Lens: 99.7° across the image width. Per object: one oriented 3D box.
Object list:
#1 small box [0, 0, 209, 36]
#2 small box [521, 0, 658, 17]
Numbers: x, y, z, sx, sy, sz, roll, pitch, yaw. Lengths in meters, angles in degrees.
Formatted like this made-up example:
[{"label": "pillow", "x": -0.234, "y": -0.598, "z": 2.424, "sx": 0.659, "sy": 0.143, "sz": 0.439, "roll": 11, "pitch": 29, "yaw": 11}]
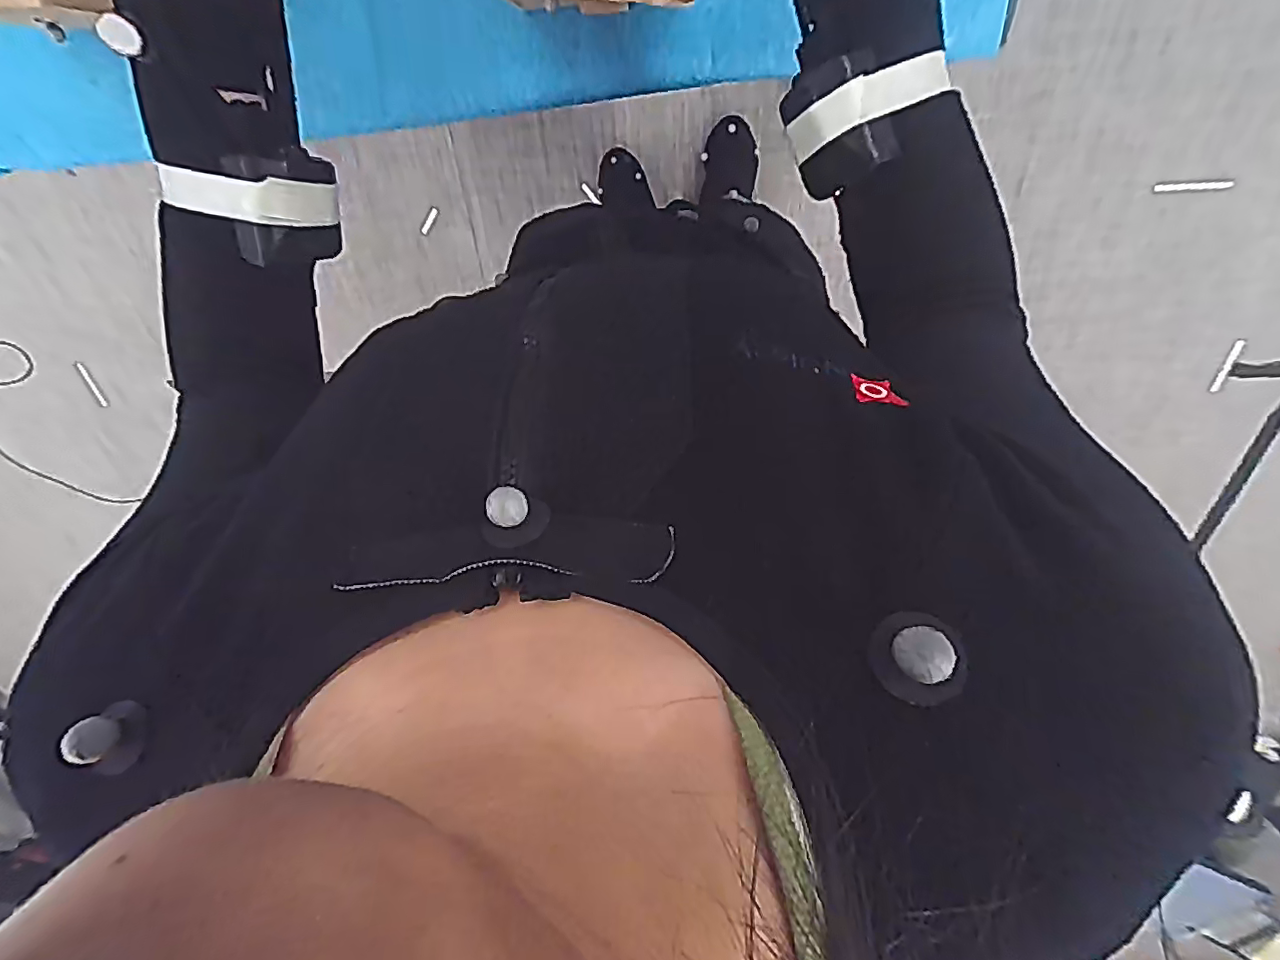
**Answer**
[{"label": "small box", "x": -0.513, "y": -0.476, "z": 0.429, "sx": 0.168, "sy": 0.176, "sz": 0.179, "roll": 3, "pitch": 124, "yaw": 2}, {"label": "small box", "x": -0.044, "y": -0.473, "z": 0.392, "sx": 0.168, "sy": 0.176, "sz": 0.179, "roll": -1, "pitch": 122, "yaw": 6}]
